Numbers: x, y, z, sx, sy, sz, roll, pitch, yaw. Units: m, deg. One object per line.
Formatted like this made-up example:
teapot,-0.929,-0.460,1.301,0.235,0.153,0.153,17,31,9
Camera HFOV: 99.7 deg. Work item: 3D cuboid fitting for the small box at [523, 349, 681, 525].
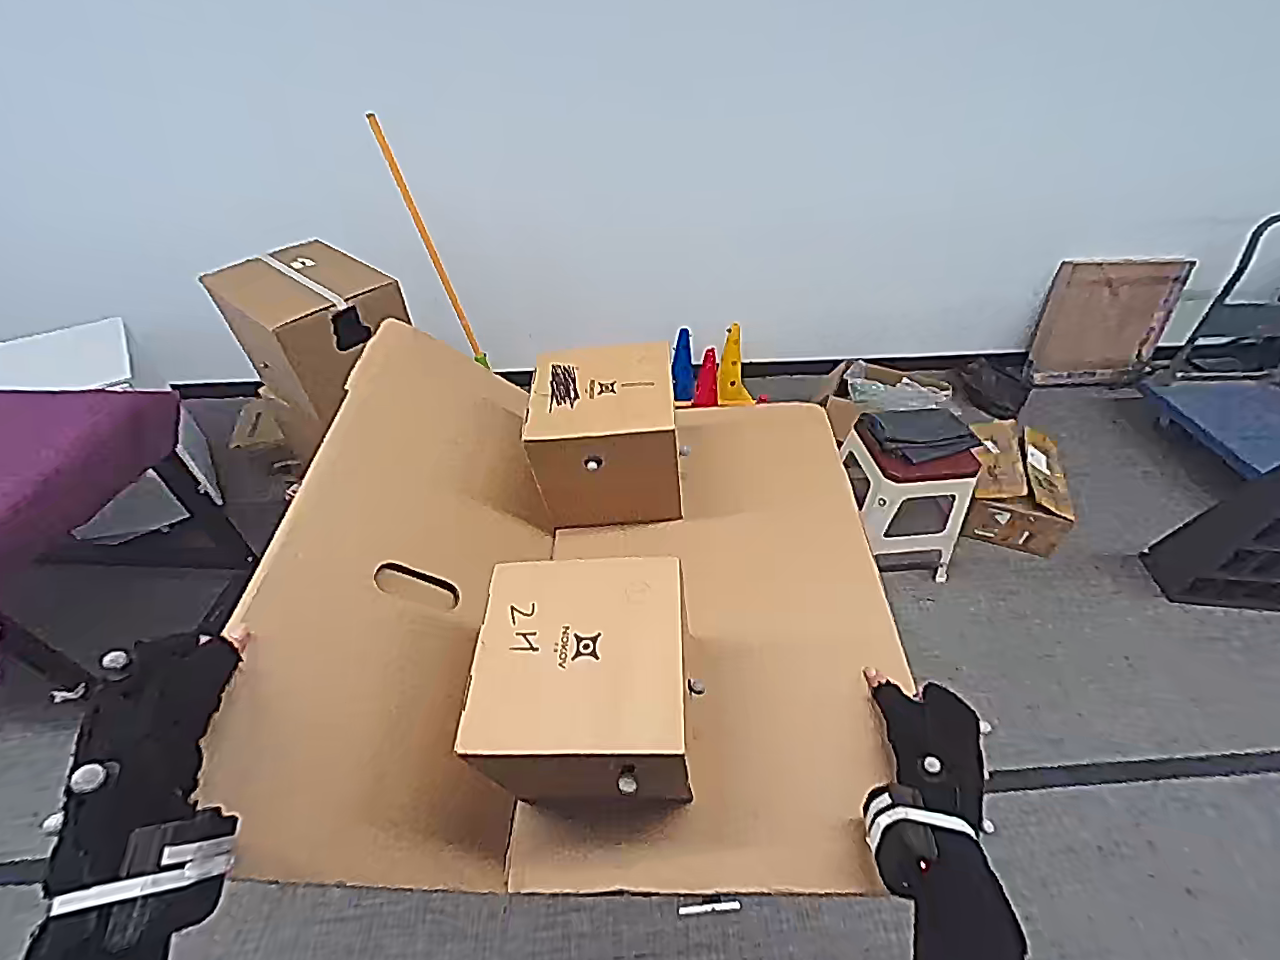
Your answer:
small box,-0.040,-0.052,0.724,0.179,0.176,0.168,-4,49,4
